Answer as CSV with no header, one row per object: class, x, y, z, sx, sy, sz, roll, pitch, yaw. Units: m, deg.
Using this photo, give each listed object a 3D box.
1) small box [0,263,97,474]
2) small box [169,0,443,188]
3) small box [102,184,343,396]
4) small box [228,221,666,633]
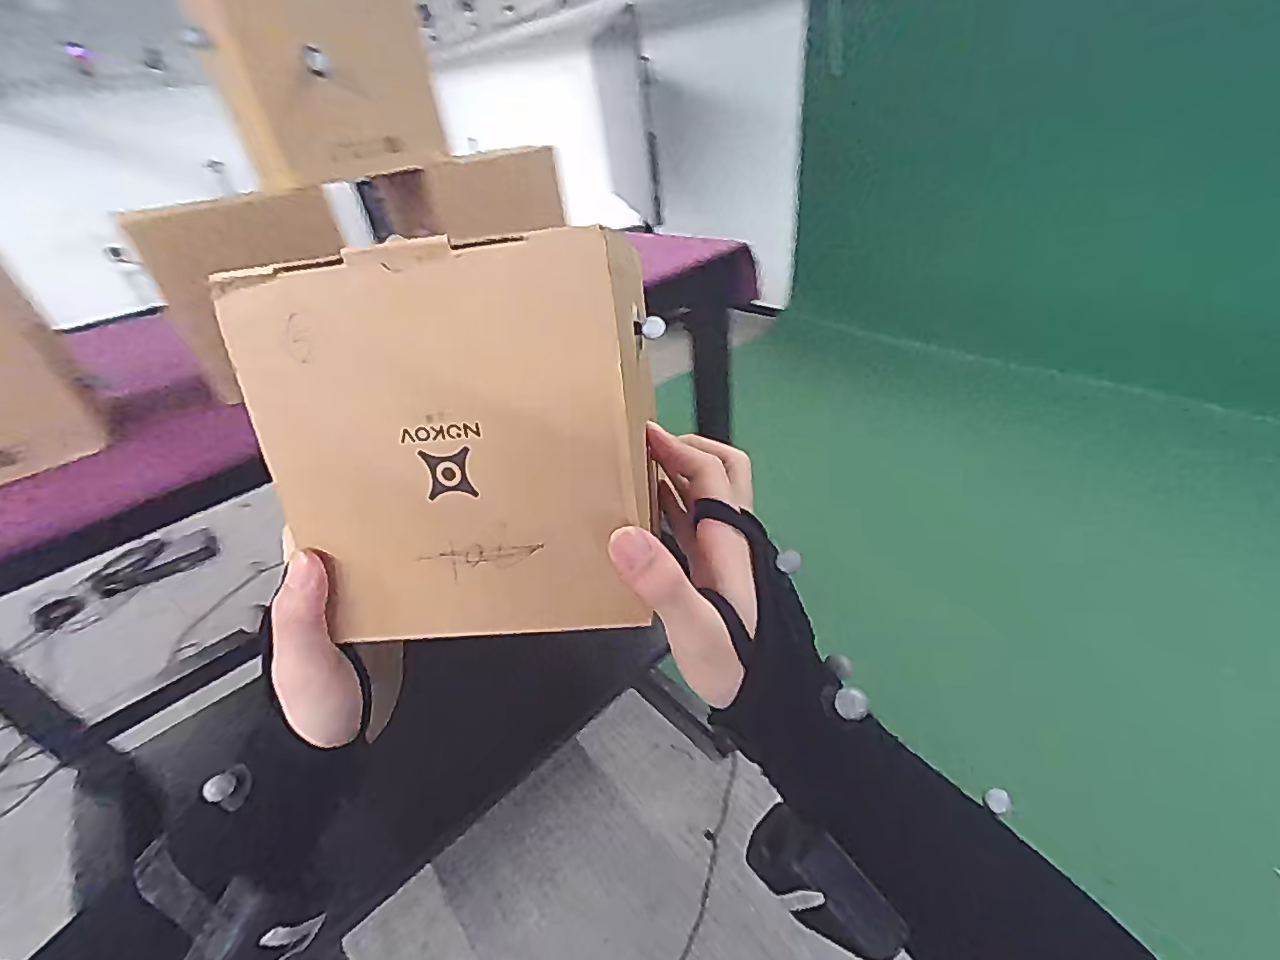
small box,-0.594,-0.090,0.437,0.168,0.176,0.179,-32,40,-31
small box,-0.326,-0.397,0.547,0.168,0.176,0.179,-31,39,-29
small box,-0.410,-0.204,0.569,0.168,0.176,0.179,-31,41,-30
small box,-0.074,-0.035,0.312,0.168,0.179,0.176,-4,18,7
